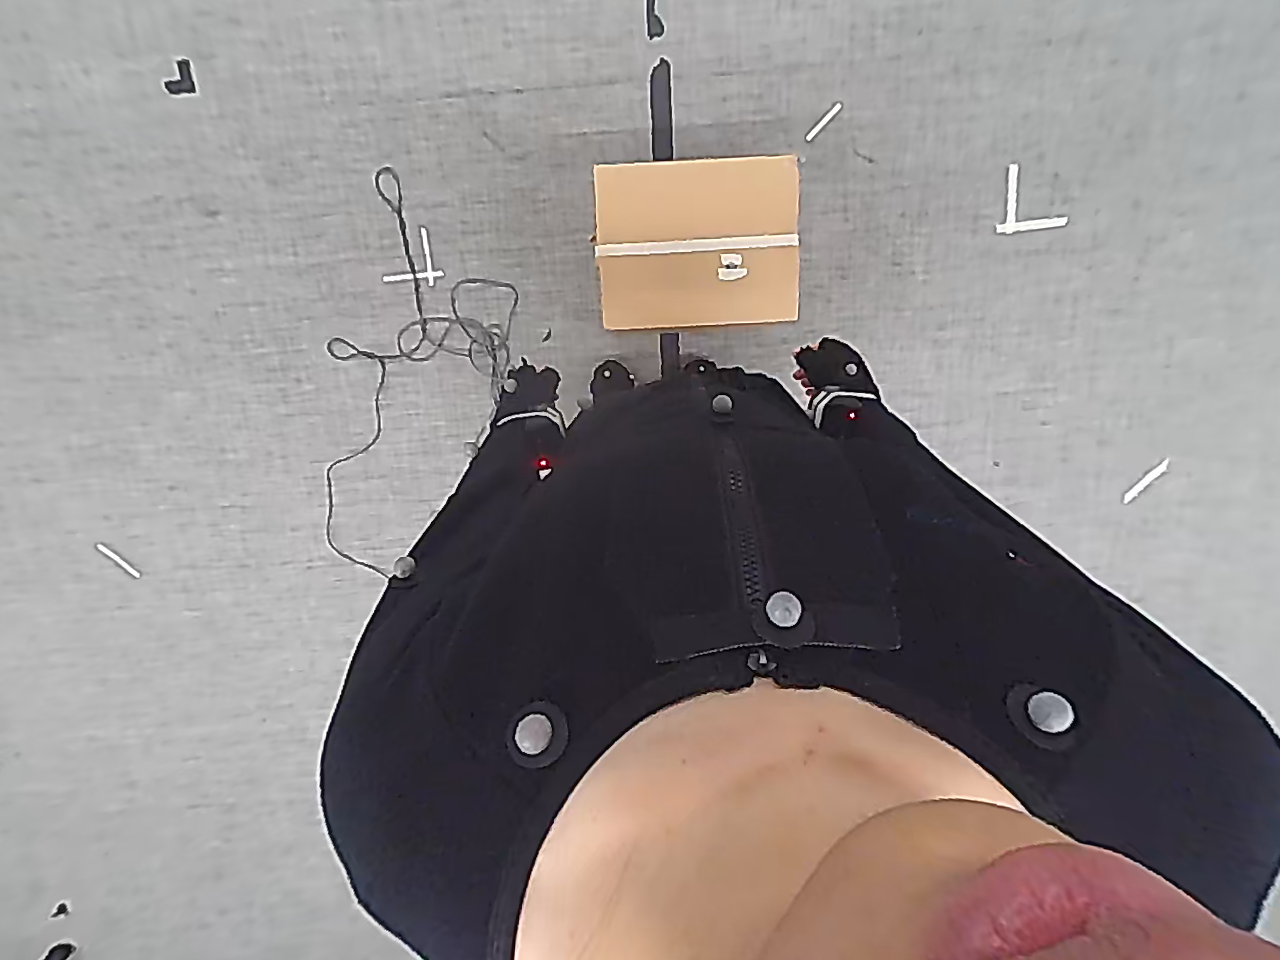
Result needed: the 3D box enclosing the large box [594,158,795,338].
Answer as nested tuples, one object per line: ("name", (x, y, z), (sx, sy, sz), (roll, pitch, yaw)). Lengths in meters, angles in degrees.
("large box", (0.114, -0.507, 1.248), (0.408, 0.320, 0.320), (-3, 103, 0))
